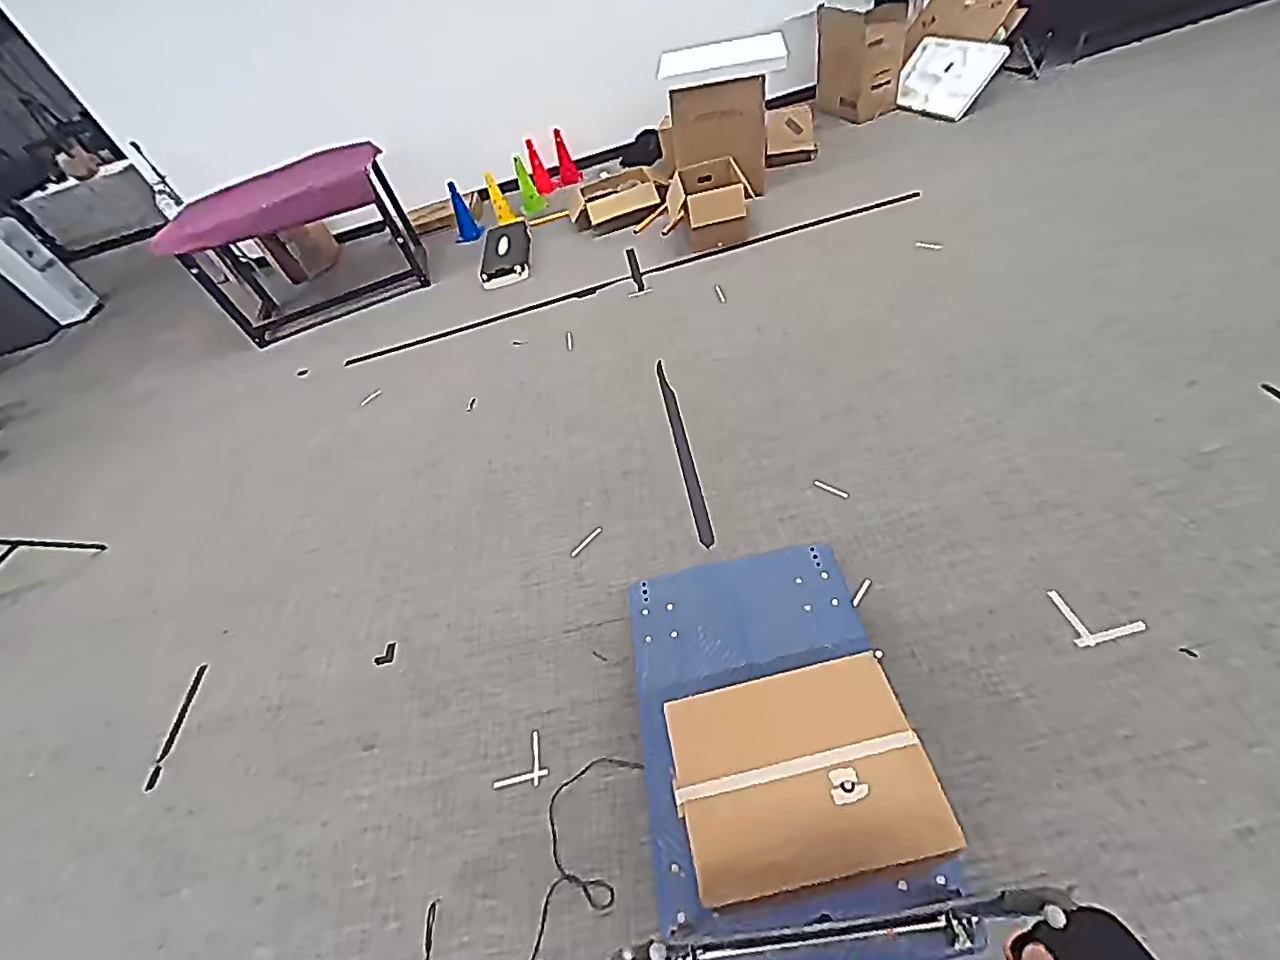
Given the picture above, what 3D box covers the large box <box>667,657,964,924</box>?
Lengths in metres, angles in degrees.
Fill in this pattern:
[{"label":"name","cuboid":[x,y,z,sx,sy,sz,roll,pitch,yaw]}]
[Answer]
[{"label":"large box","cuboid":[0.295,0.587,1.015,0.408,0.320,0.320,-15,48,2]}]
